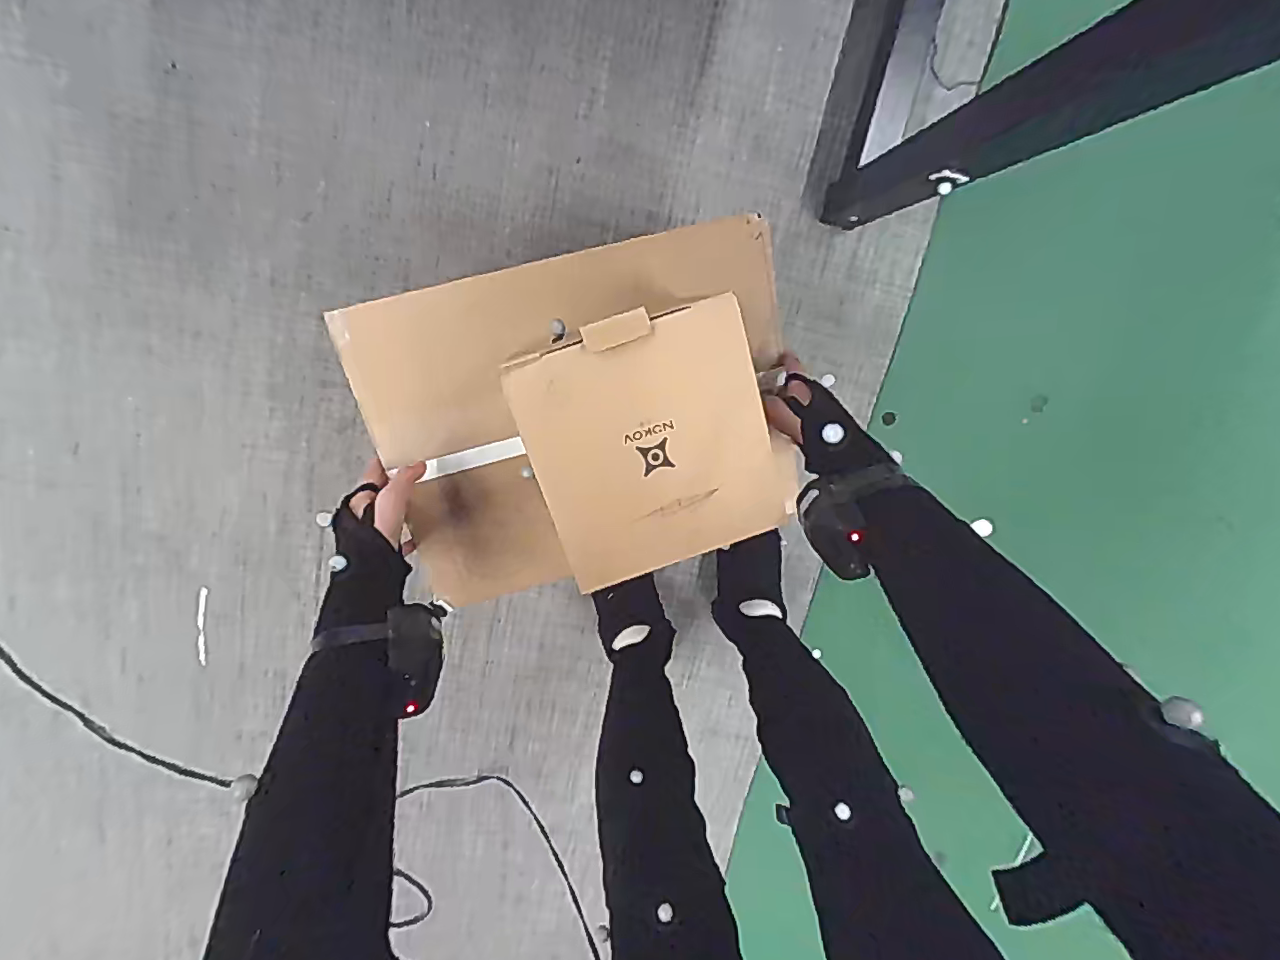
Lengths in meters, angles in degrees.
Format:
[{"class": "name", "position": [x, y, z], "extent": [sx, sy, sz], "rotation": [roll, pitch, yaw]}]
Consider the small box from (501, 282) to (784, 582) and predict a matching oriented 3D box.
[{"class": "small box", "position": [-0.003, -0.048, 0.451], "extent": [0.168, 0.176, 0.179], "rotation": [-18, 108, -2]}]
